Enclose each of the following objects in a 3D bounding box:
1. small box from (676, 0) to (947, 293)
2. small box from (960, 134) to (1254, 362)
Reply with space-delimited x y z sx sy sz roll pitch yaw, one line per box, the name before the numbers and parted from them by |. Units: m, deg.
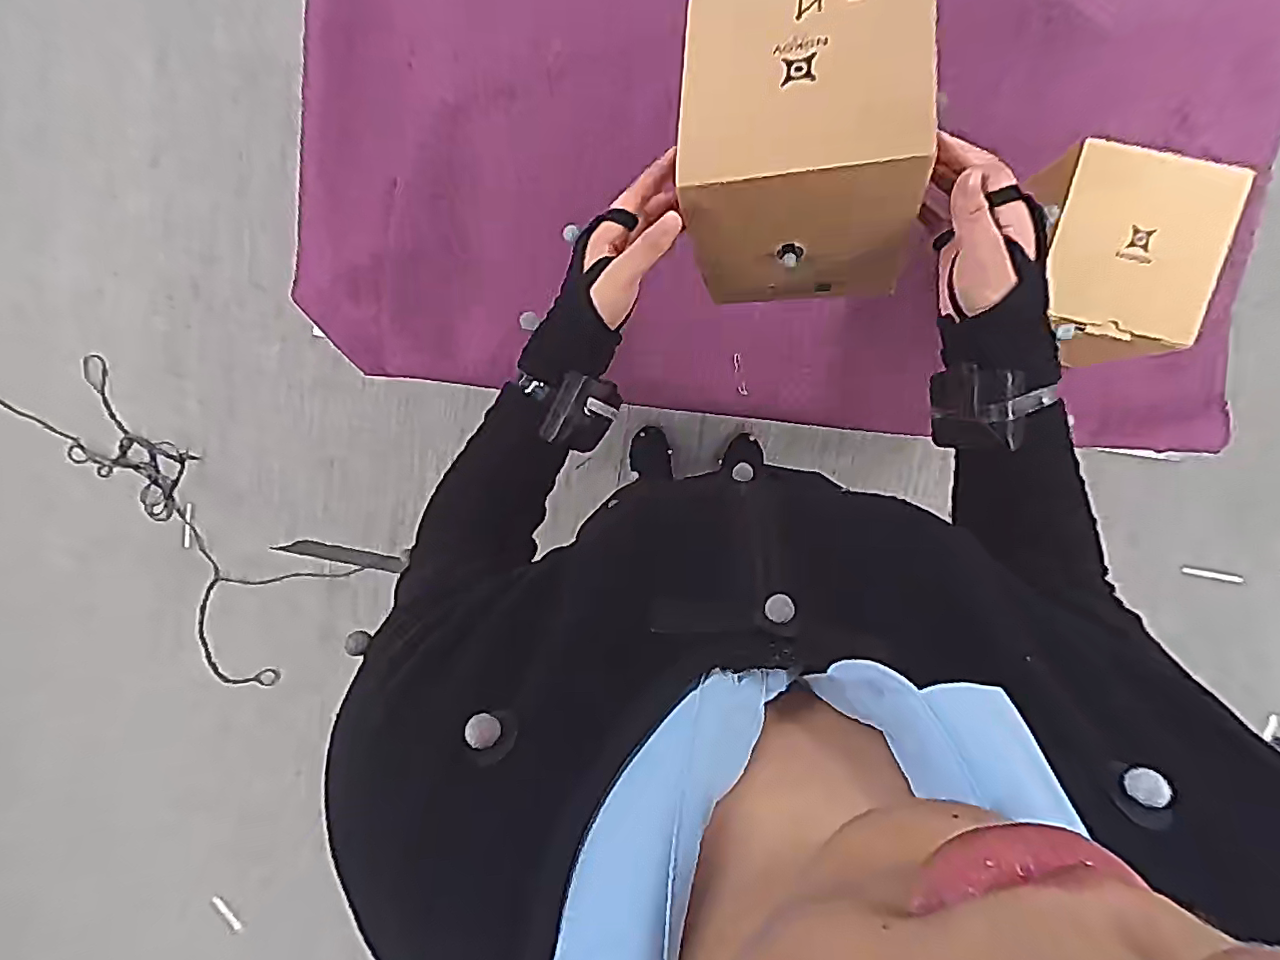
small box | 0.132 -0.264 0.429 0.168 0.176 0.179 3 79 16
small box | 0.503 -0.245 0.615 0.168 0.176 0.179 14 97 3
